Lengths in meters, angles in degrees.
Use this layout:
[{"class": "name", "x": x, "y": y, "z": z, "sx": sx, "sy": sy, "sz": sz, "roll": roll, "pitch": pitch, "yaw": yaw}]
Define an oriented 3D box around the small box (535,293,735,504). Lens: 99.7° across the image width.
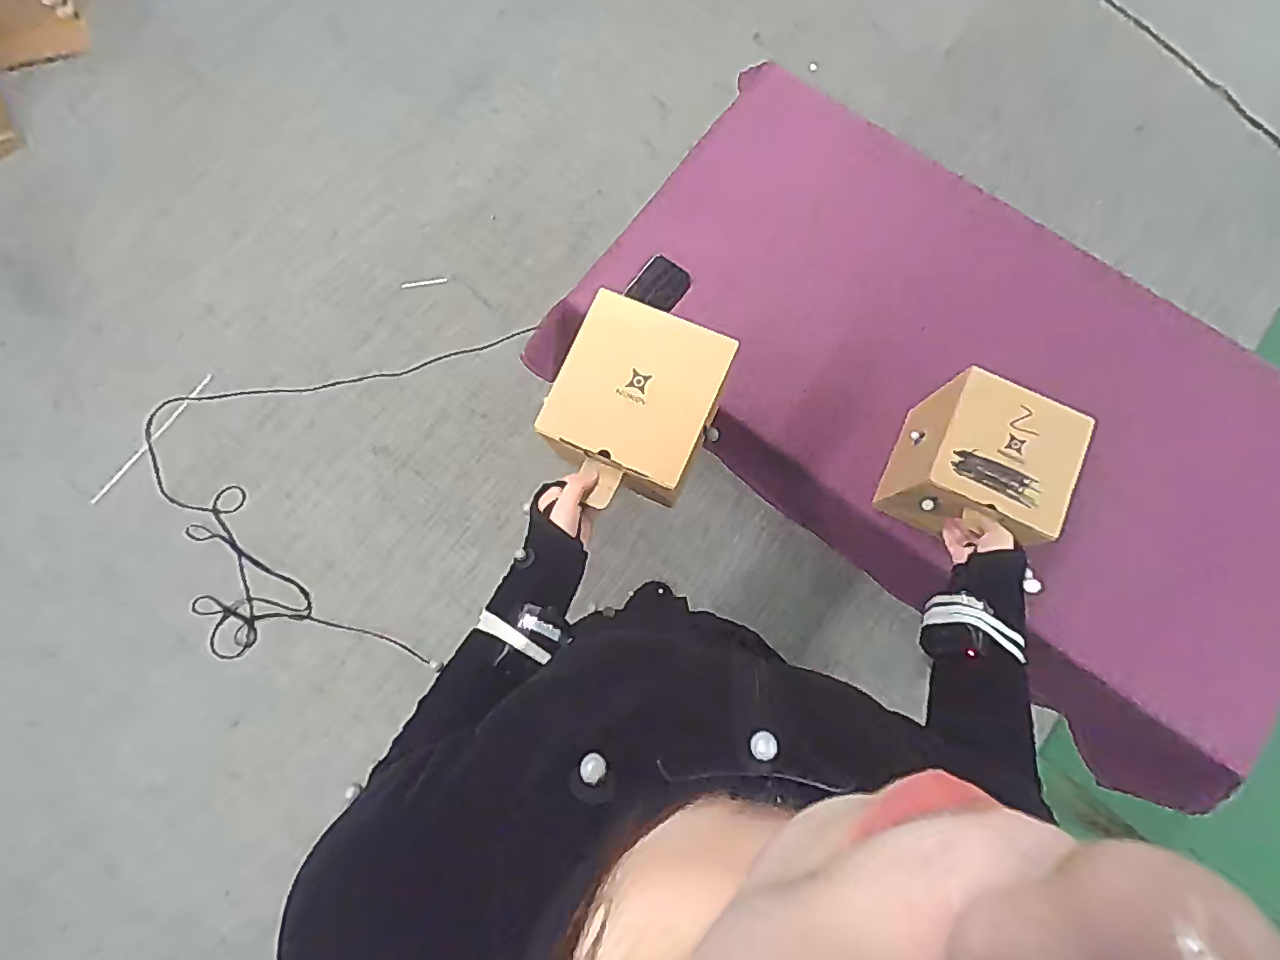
[{"class": "small box", "x": -0.003, "y": -0.086, "z": 0.656, "sx": 0.168, "sy": 0.176, "sz": 0.179, "roll": 24, "pitch": 83, "yaw": 6}]
